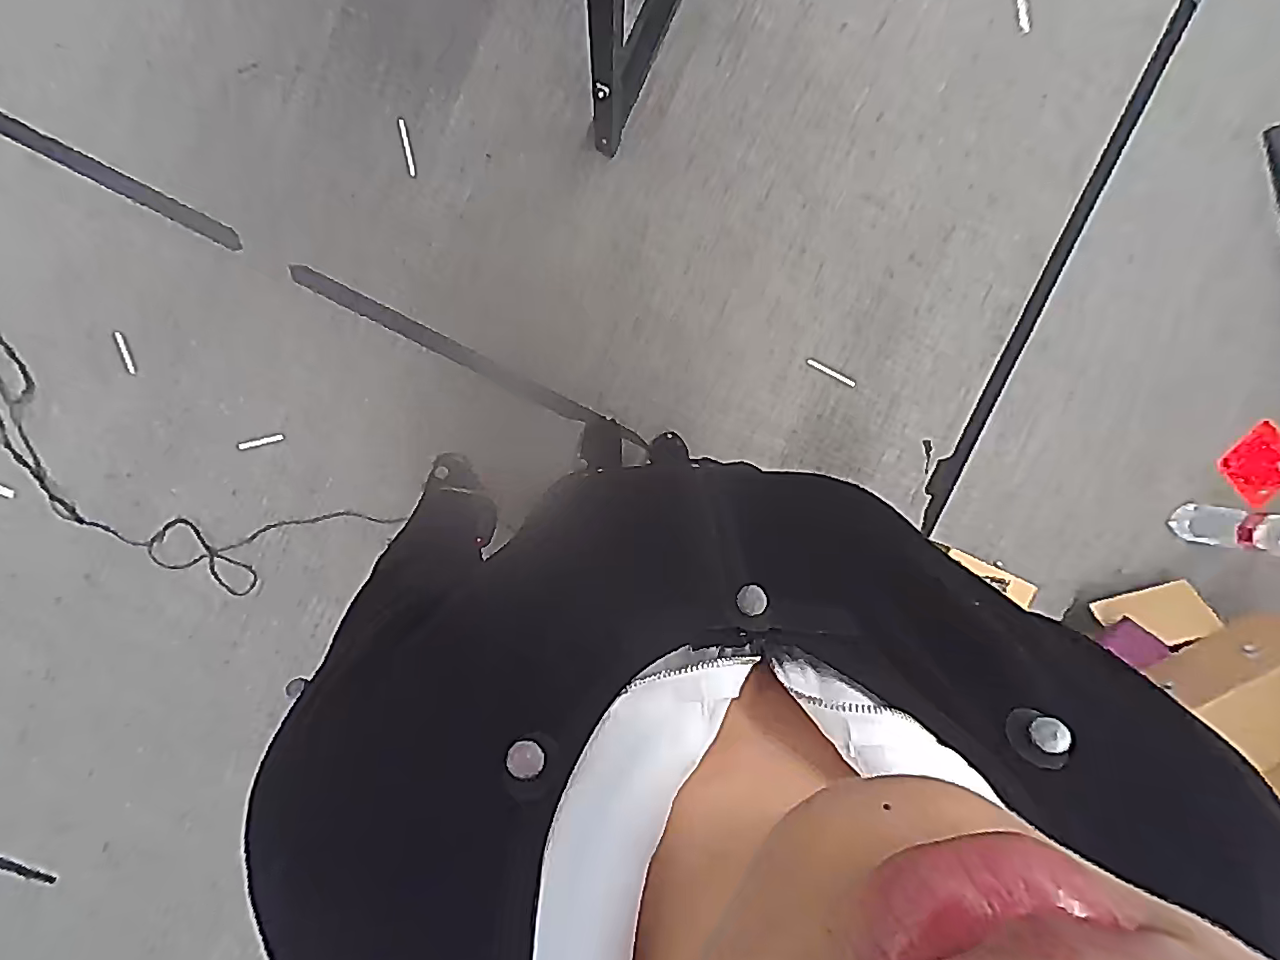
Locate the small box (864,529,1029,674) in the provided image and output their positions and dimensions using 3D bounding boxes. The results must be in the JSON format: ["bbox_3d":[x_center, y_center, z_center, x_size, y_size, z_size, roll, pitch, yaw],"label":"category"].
[{"bbox_3d":[0.536,0.209,0.978,0.168,0.176,0.179,25,95,-5],"label":"small box"}]
